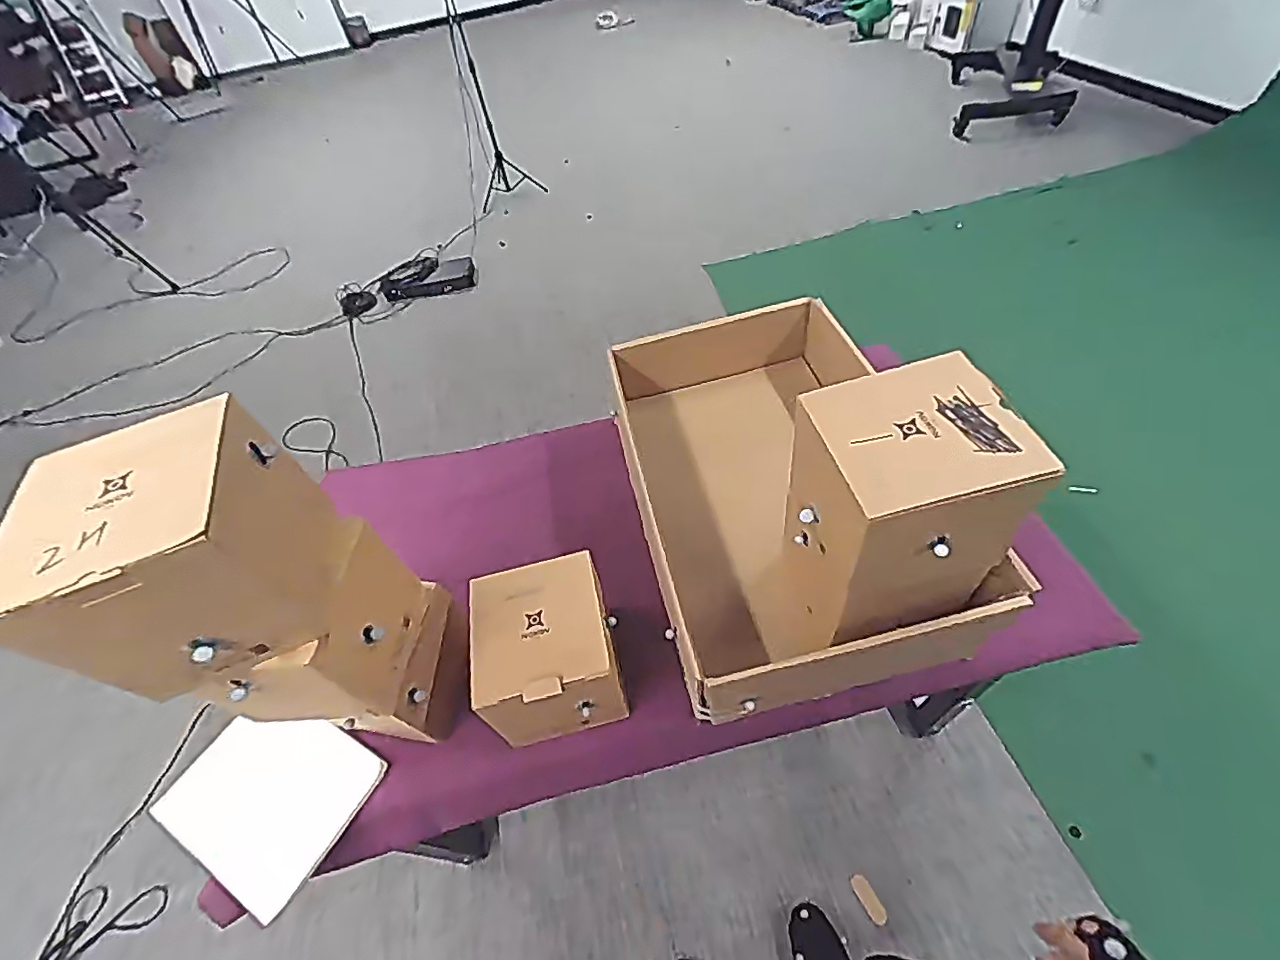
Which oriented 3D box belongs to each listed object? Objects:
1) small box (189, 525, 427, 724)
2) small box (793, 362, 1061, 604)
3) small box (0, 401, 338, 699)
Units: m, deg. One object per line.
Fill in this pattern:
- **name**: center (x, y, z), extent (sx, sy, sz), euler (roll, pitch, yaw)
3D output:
- **small box**: center (-0.372, 0.169, 0.615), extent (0.179, 0.176, 0.168), euler (-5, 50, 6)
- **small box**: center (0.274, 0.008, 0.571), extent (0.179, 0.176, 0.168), euler (-14, 50, 1)
- **small box**: center (-0.399, 0.065, 0.490), extent (0.168, 0.176, 0.179), euler (-22, 51, -8)
